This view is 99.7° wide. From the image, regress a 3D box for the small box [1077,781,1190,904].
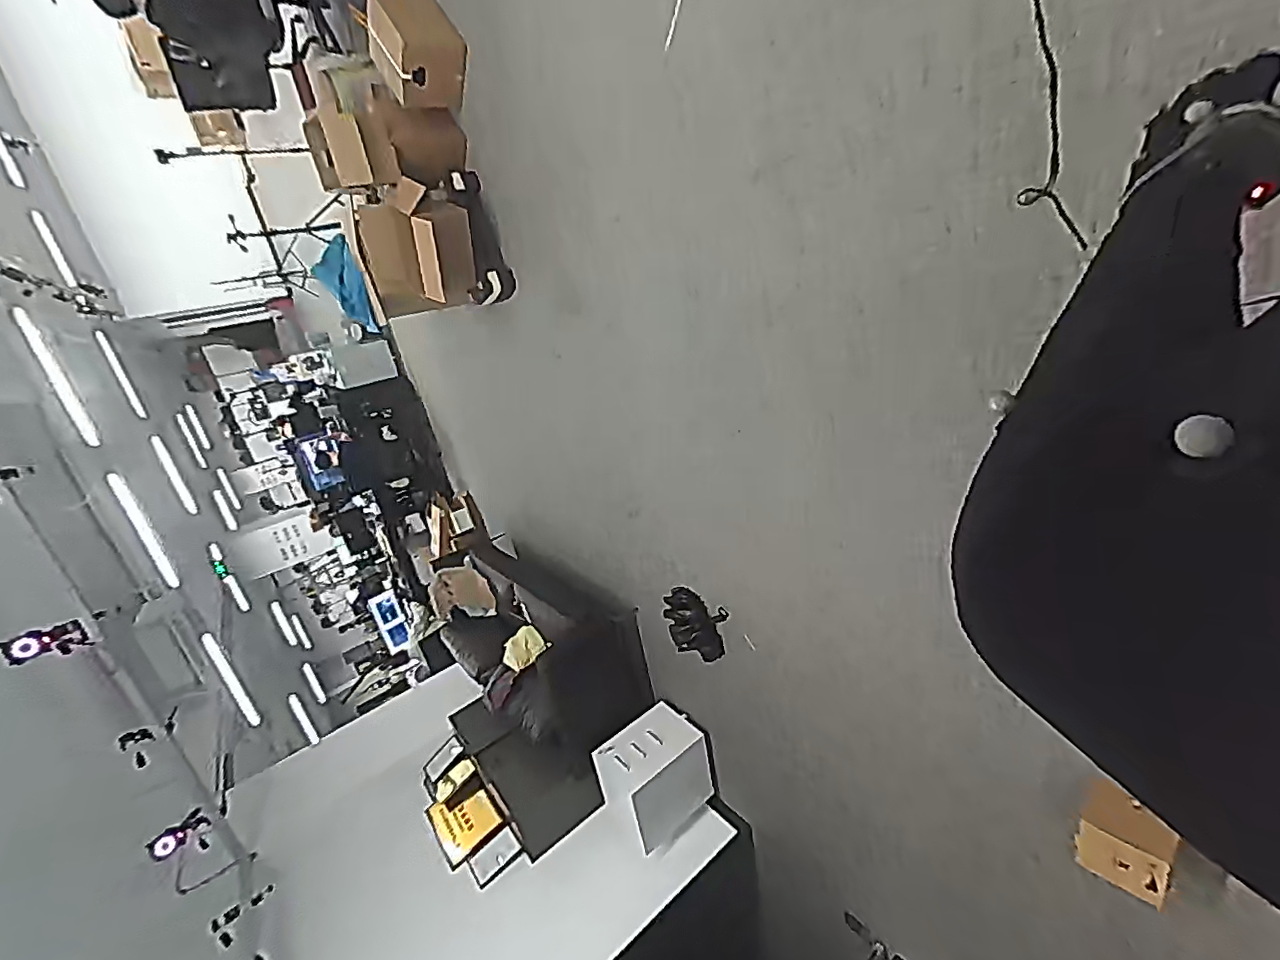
[{"bbox_3d":[1.280,0.926,1.405,0.179,0.176,0.168,15,123,52],"label":"small box"}]
